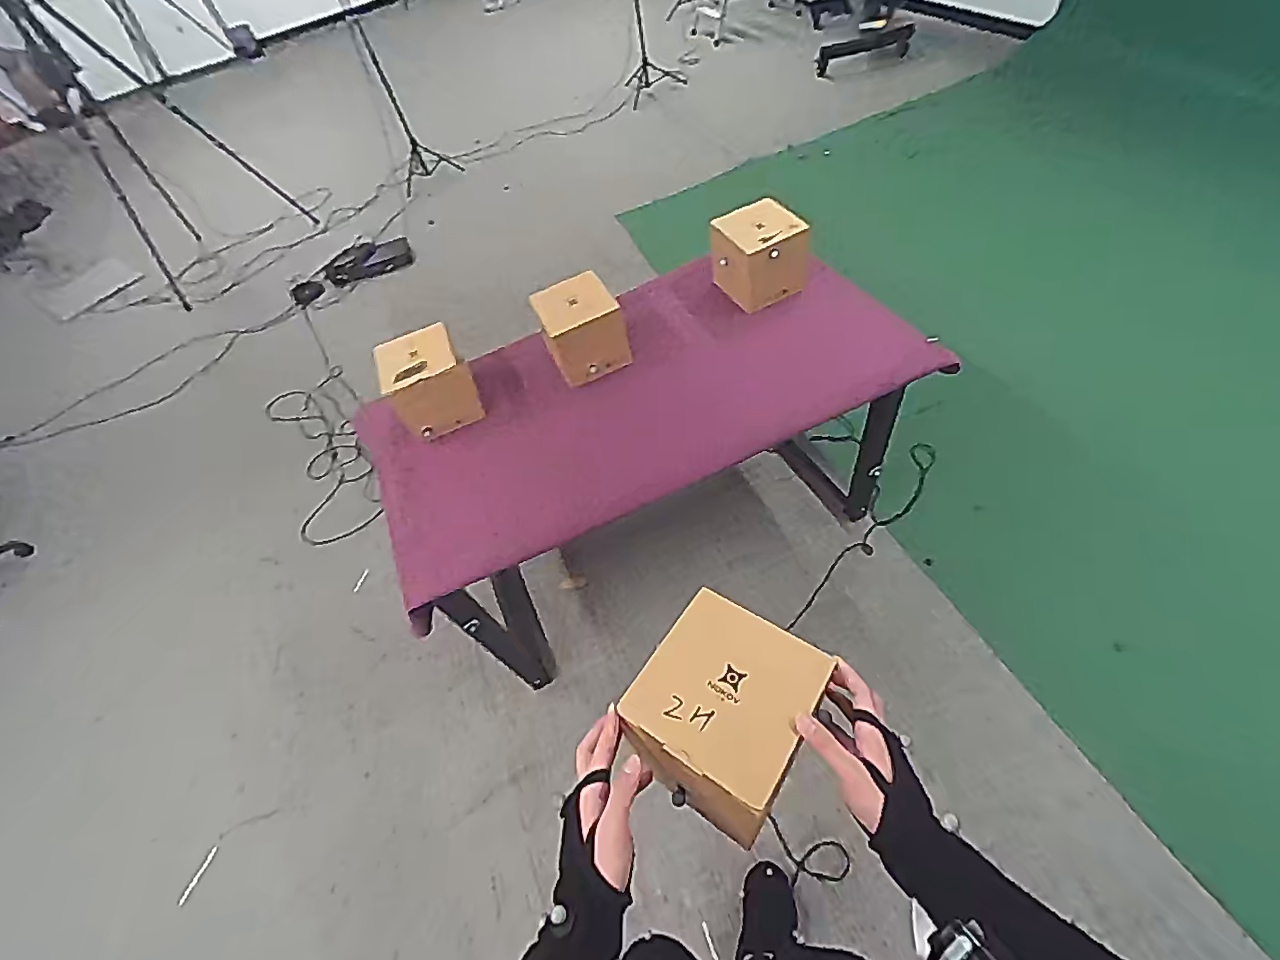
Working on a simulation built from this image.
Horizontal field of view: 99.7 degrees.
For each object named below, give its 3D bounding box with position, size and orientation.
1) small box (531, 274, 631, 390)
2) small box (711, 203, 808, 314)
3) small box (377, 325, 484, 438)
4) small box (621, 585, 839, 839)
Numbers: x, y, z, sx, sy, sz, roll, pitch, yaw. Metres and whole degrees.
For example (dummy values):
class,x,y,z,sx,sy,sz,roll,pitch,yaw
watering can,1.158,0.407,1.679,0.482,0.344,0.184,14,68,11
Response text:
class,x,y,z,sx,sy,sz,roll,pitch,yaw
small box,-0.137,-0.348,1.282,0.168,0.176,0.179,-26,54,-6
small box,0.290,-0.542,1.332,0.168,0.176,0.179,-27,53,-7
small box,-0.481,-0.219,1.254,0.168,0.176,0.179,-23,54,-6
small box,0.099,0.261,0.613,0.168,0.176,0.179,26,55,28
